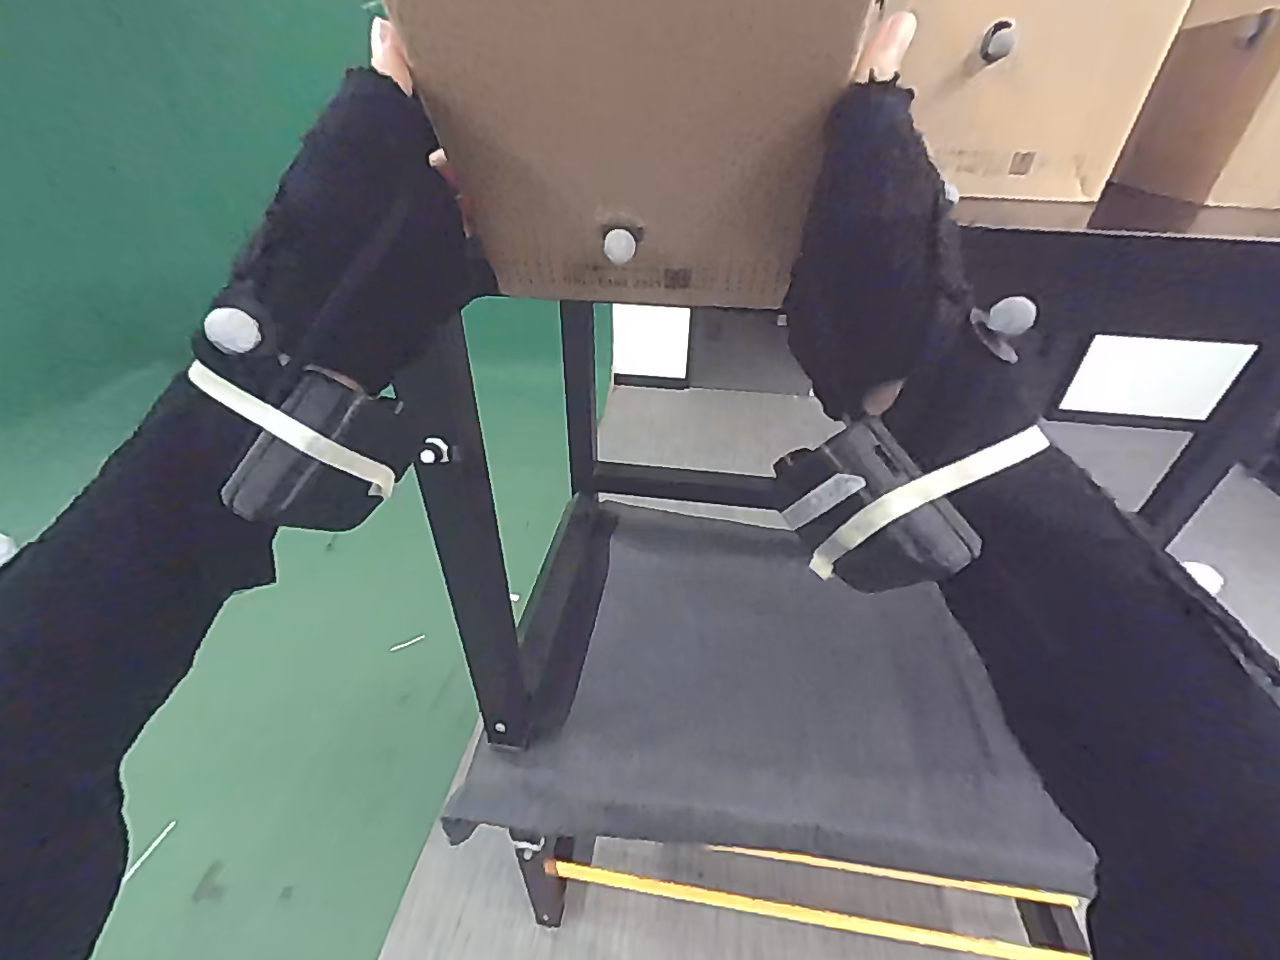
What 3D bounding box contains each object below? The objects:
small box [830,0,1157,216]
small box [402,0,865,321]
[{"bbox_3d":[0.264,-0.320,0.440,0.168,0.176,0.179,6,35,6],"label":"small box"},{"bbox_3d":[0.005,-0.210,0.279,0.168,0.176,0.179,4,68,5],"label":"small box"}]
